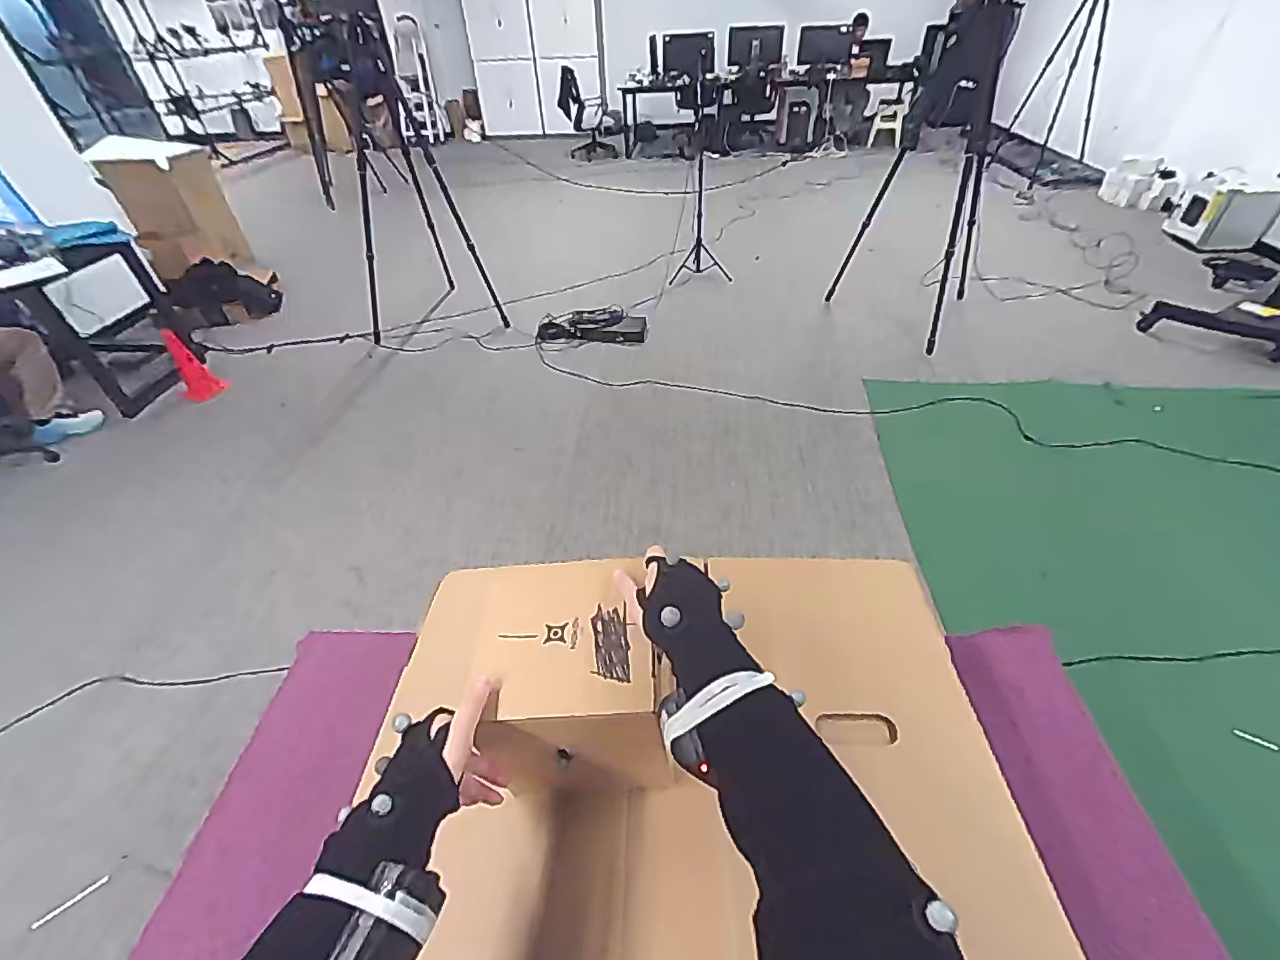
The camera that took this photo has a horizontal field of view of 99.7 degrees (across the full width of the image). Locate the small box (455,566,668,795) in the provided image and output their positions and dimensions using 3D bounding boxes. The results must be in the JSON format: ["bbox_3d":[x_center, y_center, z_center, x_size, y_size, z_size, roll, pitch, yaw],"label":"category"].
[{"bbox_3d":[-0.064,0.214,0.572,0.179,0.176,0.168,-7,41,6],"label":"small box"}]
